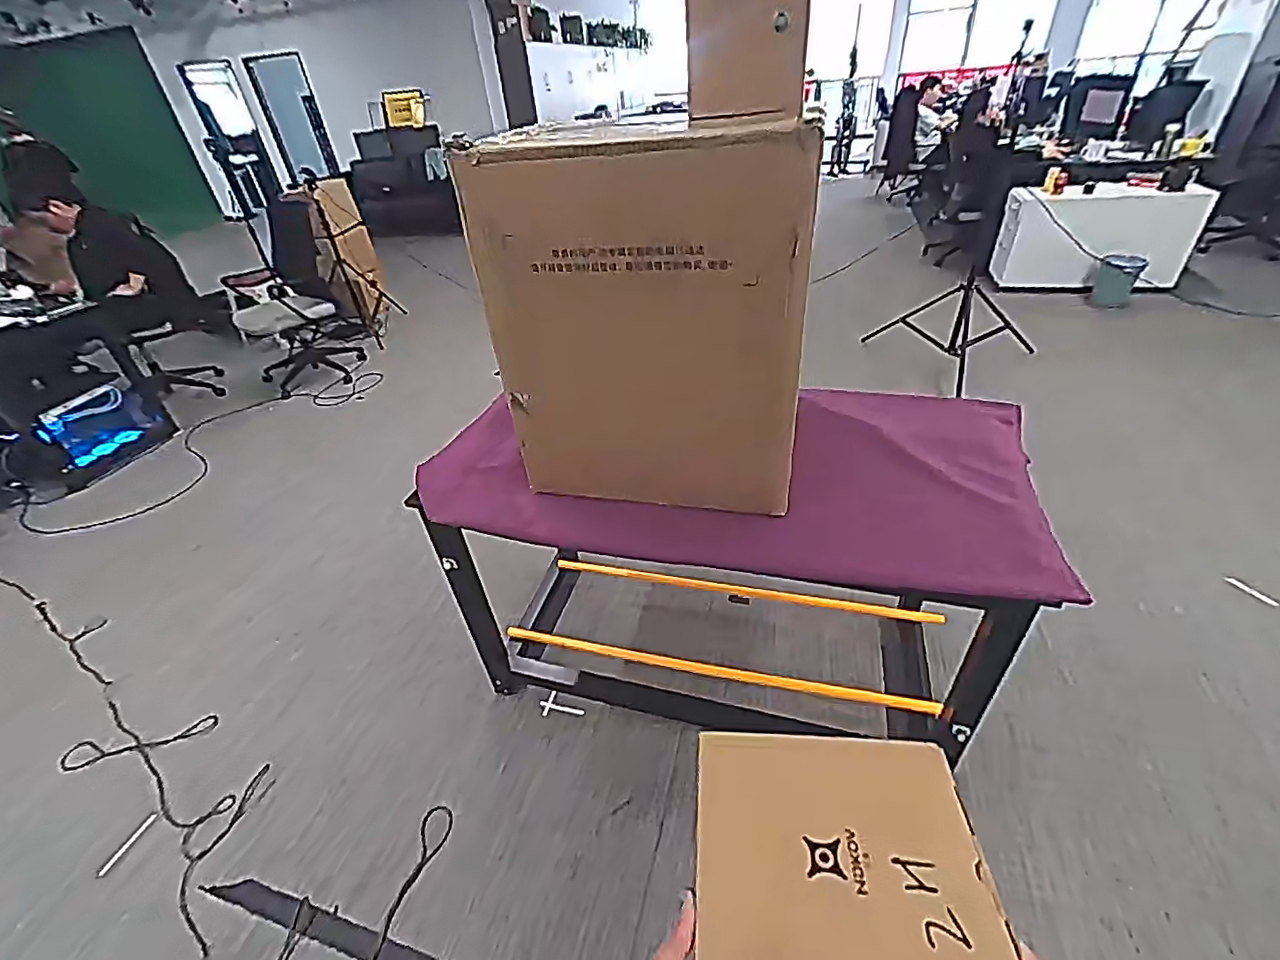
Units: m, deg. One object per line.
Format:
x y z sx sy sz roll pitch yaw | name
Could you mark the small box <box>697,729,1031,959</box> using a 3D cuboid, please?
0.132 0.299 0.373 0.179 0.176 0.168 0 33 8 | small box
